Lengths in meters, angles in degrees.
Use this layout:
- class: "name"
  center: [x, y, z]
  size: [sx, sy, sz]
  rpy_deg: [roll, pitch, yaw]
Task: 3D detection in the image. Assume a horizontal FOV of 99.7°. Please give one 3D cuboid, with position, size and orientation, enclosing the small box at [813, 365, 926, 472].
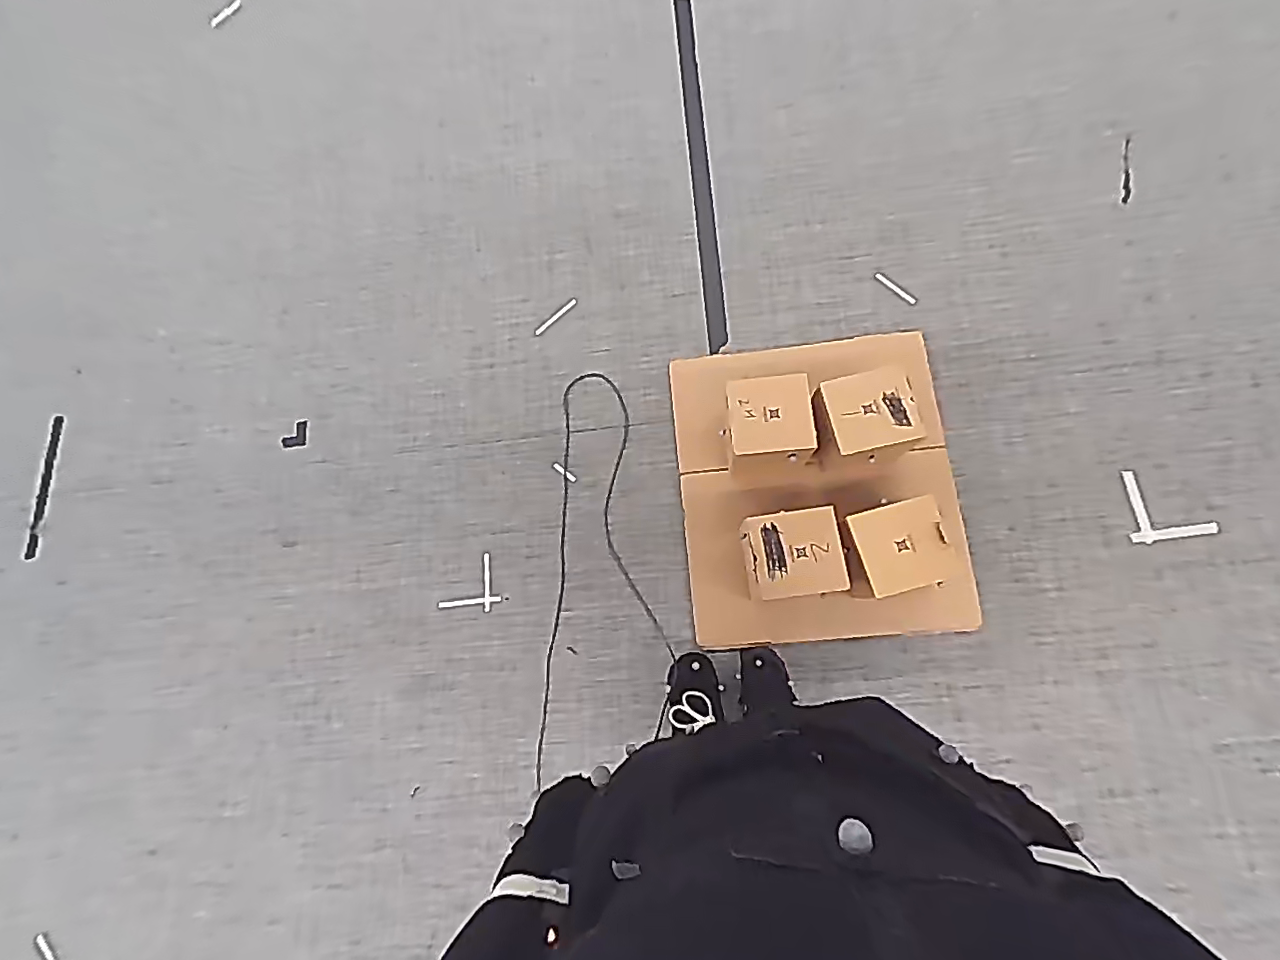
- class: "small box"
  center: [0.489, -0.128, 1.190]
  size: [0.179, 0.176, 0.168]
  rpy_deg: [-14, 76, 5]

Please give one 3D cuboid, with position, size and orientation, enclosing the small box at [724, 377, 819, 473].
- class: "small box"
  center: [0.287, -0.118, 1.214]
  size: [0.179, 0.176, 0.168]
  rpy_deg: [-5, 76, 6]
